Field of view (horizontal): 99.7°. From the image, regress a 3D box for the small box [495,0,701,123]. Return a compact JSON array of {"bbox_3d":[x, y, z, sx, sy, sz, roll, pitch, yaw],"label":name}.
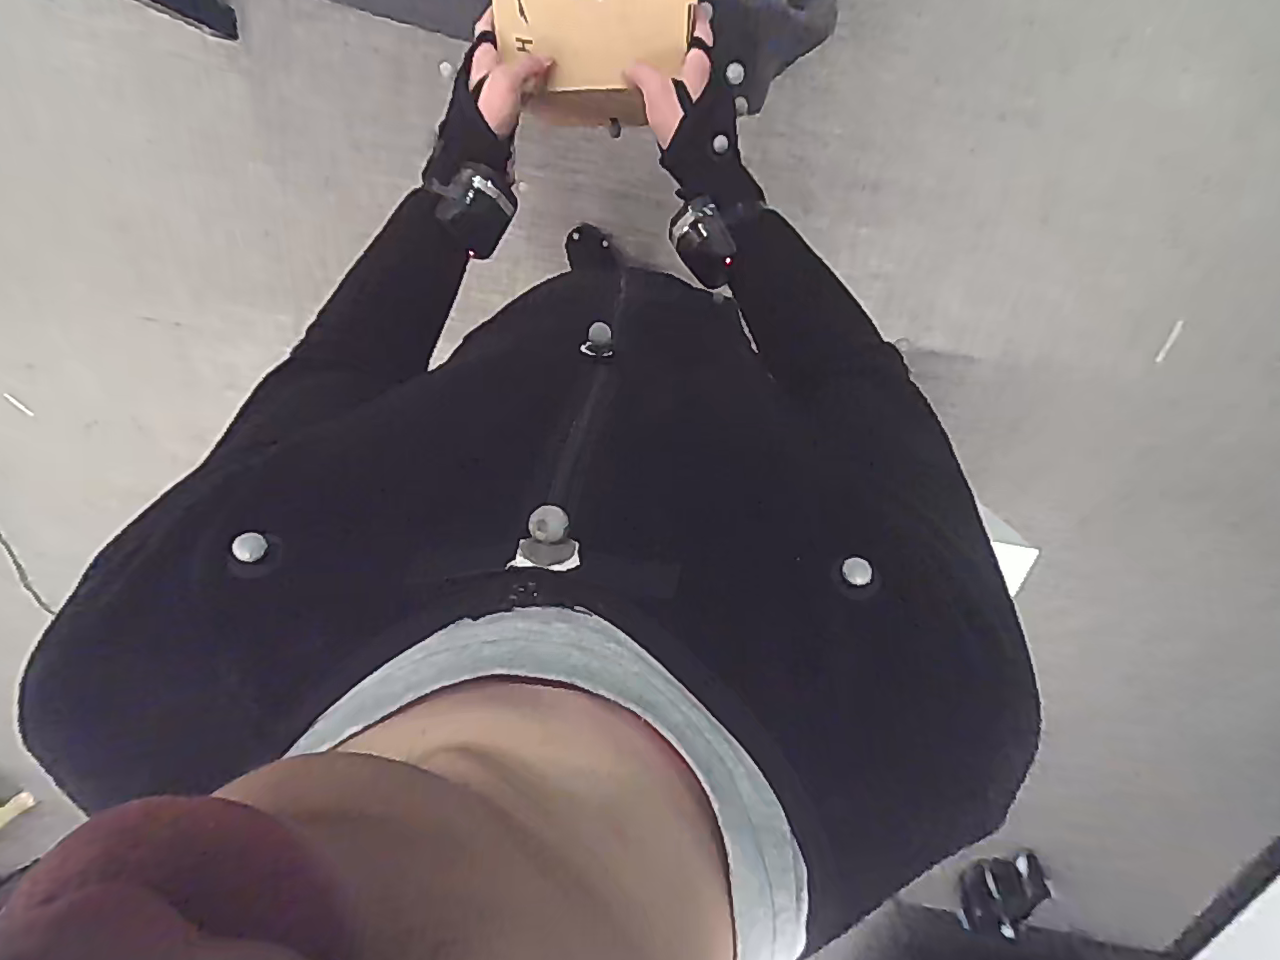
[{"bbox_3d":[-0.031,-0.455,0.517,0.179,0.176,0.168,2,115,4],"label":"small box"}]
